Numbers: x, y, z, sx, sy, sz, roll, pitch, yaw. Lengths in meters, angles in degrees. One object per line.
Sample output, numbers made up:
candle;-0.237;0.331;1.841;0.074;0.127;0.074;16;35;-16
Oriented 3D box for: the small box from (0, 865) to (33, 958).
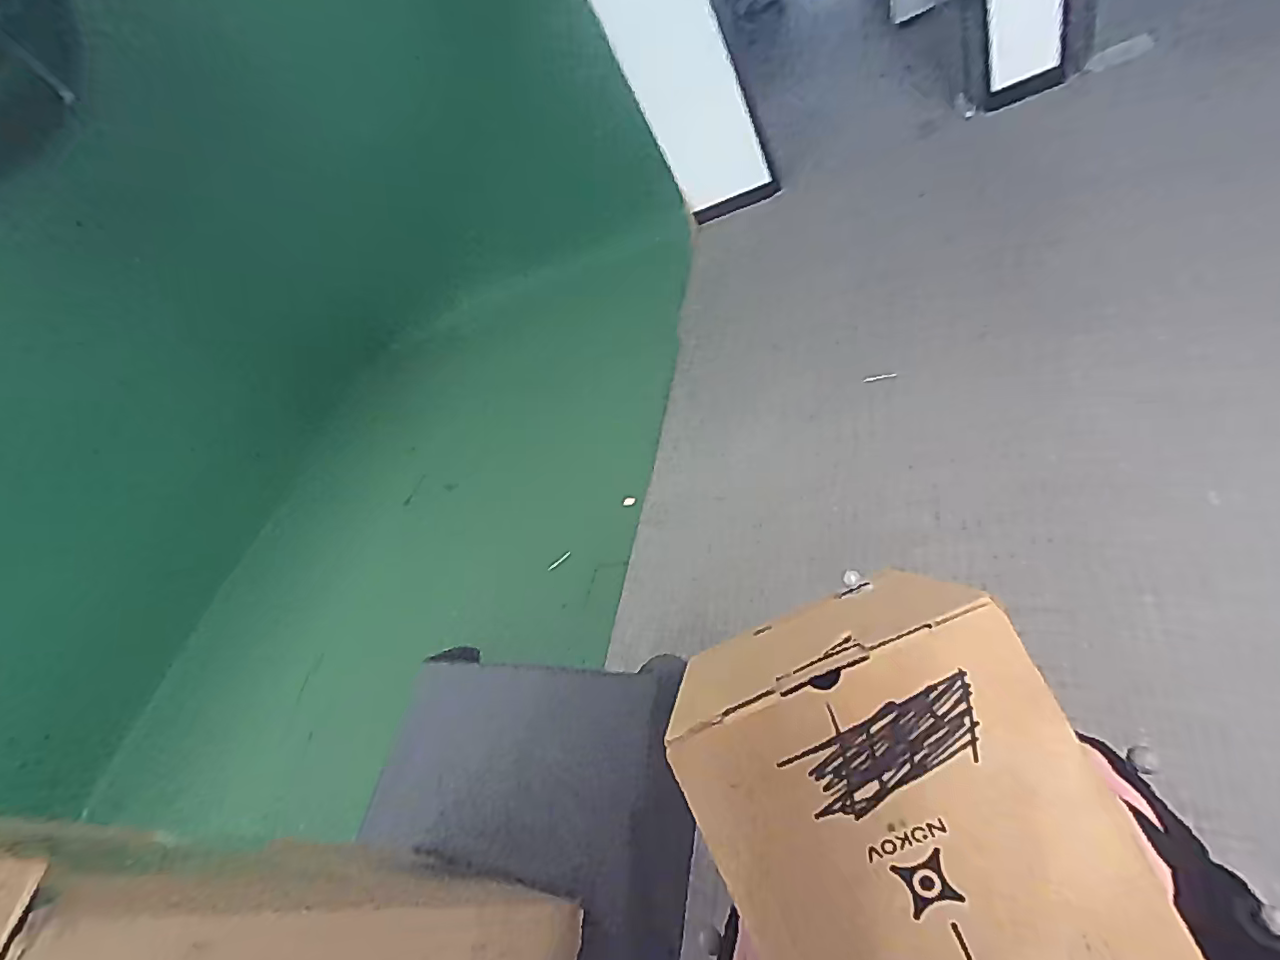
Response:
small box;-0.503;0.298;0.287;0.179;0.176;0.168;-17;47;25
